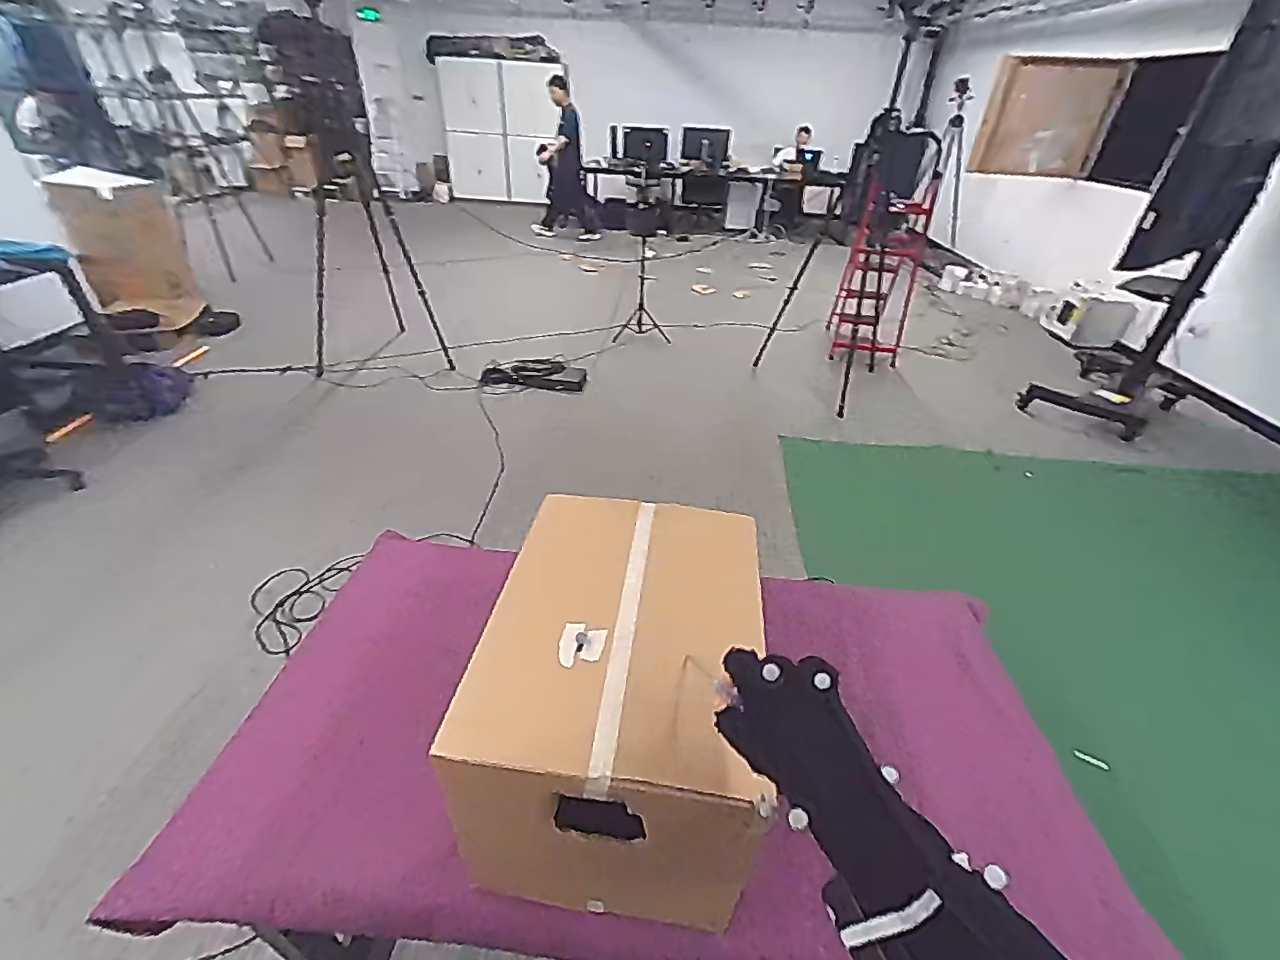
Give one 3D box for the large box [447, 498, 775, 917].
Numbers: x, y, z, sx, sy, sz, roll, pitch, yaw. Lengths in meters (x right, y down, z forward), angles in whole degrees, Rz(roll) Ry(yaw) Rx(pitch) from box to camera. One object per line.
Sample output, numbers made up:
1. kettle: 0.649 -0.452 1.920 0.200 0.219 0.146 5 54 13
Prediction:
1. large box: -0.019 0.279 0.737 0.320 0.320 0.408 7 36 4
